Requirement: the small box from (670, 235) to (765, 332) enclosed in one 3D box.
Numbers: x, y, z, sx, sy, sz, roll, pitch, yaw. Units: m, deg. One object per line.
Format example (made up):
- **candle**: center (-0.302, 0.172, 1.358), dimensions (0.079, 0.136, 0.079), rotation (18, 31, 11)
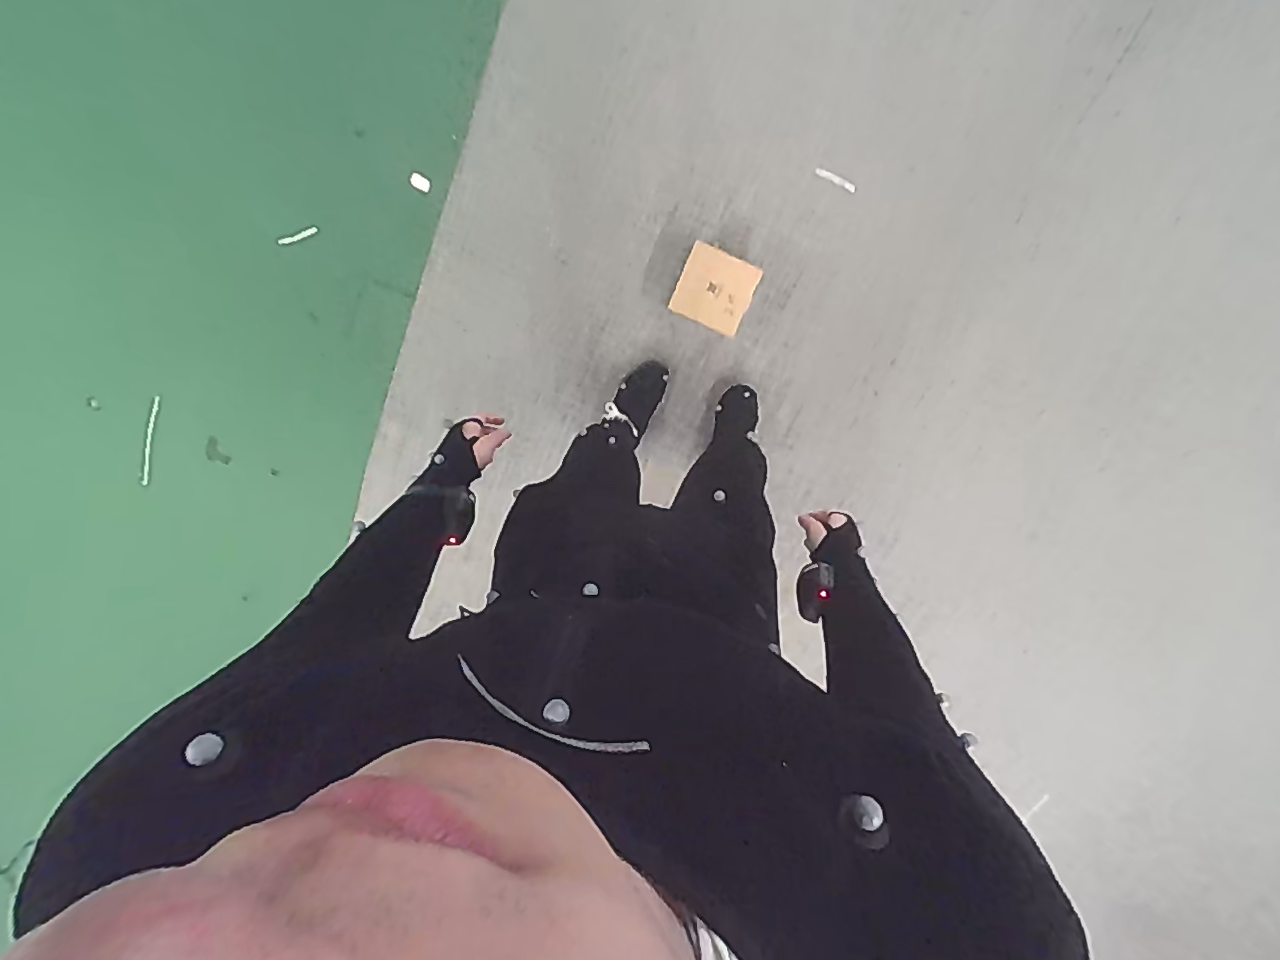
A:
- **small box**: center (0.185, -0.481, 1.341), dimensions (0.179, 0.176, 0.168), rotation (23, 109, -4)
